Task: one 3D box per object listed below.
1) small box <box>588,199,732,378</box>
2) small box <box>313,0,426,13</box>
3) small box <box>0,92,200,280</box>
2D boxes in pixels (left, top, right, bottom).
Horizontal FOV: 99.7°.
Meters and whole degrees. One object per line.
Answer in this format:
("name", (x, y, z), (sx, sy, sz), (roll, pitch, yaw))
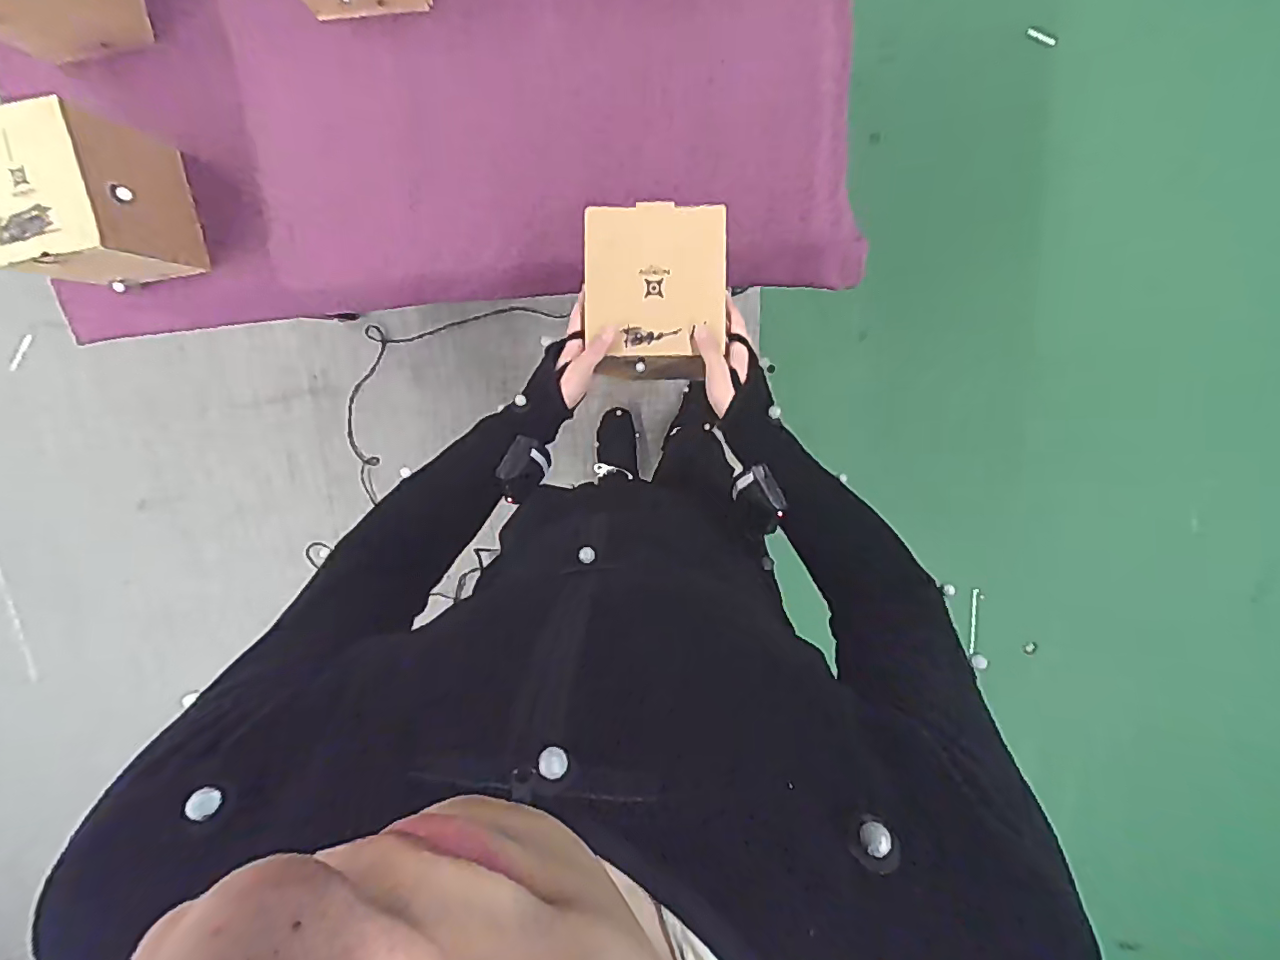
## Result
("small box", (0.024, -0.236, 0.701), (0.168, 0.176, 0.179), (0, 91, 2))
("small box", (-0.372, -0.707, 0.640), (0.168, 0.176, 0.179), (-2, 104, 3))
("small box", (-0.752, -0.377, 0.732), (0.168, 0.176, 0.179), (-7, 101, 4))
